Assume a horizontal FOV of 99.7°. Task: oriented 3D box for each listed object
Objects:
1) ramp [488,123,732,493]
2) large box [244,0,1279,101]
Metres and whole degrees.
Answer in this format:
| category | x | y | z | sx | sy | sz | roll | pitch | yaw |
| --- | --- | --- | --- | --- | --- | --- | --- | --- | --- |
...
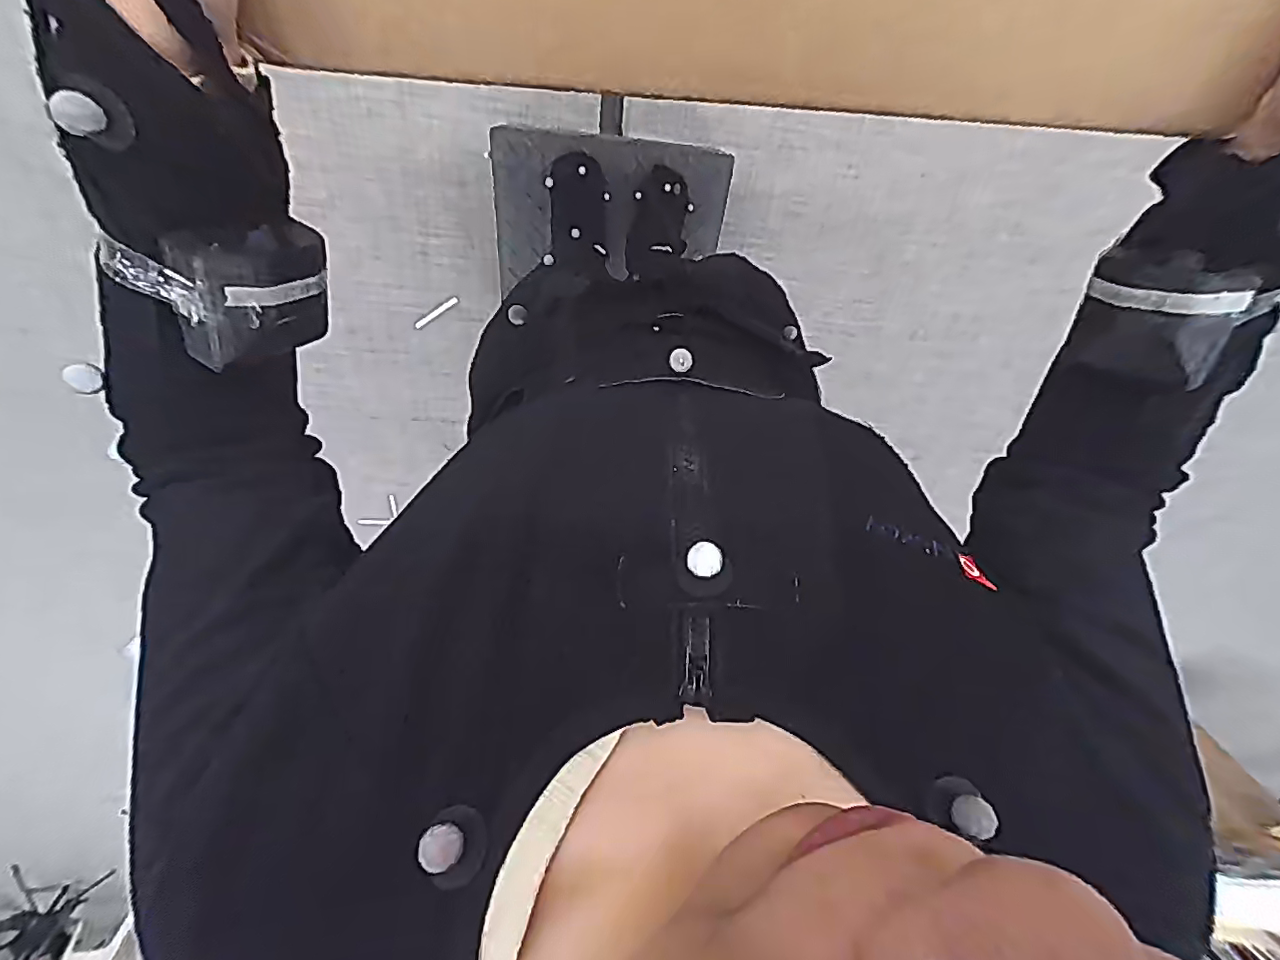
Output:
| category | x | y | z | sx | sy | sz | roll | pitch | yaw |
| --- | --- | --- | --- | --- | --- | --- | --- | --- | --- |
| ramp | -0.107 | -0.323 | 1.408 | 0.509 | 0.206 | 0.991 | 1 | 124 | -6 |
| large box | 0.051 | -0.378 | 0.204 | 0.408 | 0.320 | 0.320 | 2 | 141 | -4 |
